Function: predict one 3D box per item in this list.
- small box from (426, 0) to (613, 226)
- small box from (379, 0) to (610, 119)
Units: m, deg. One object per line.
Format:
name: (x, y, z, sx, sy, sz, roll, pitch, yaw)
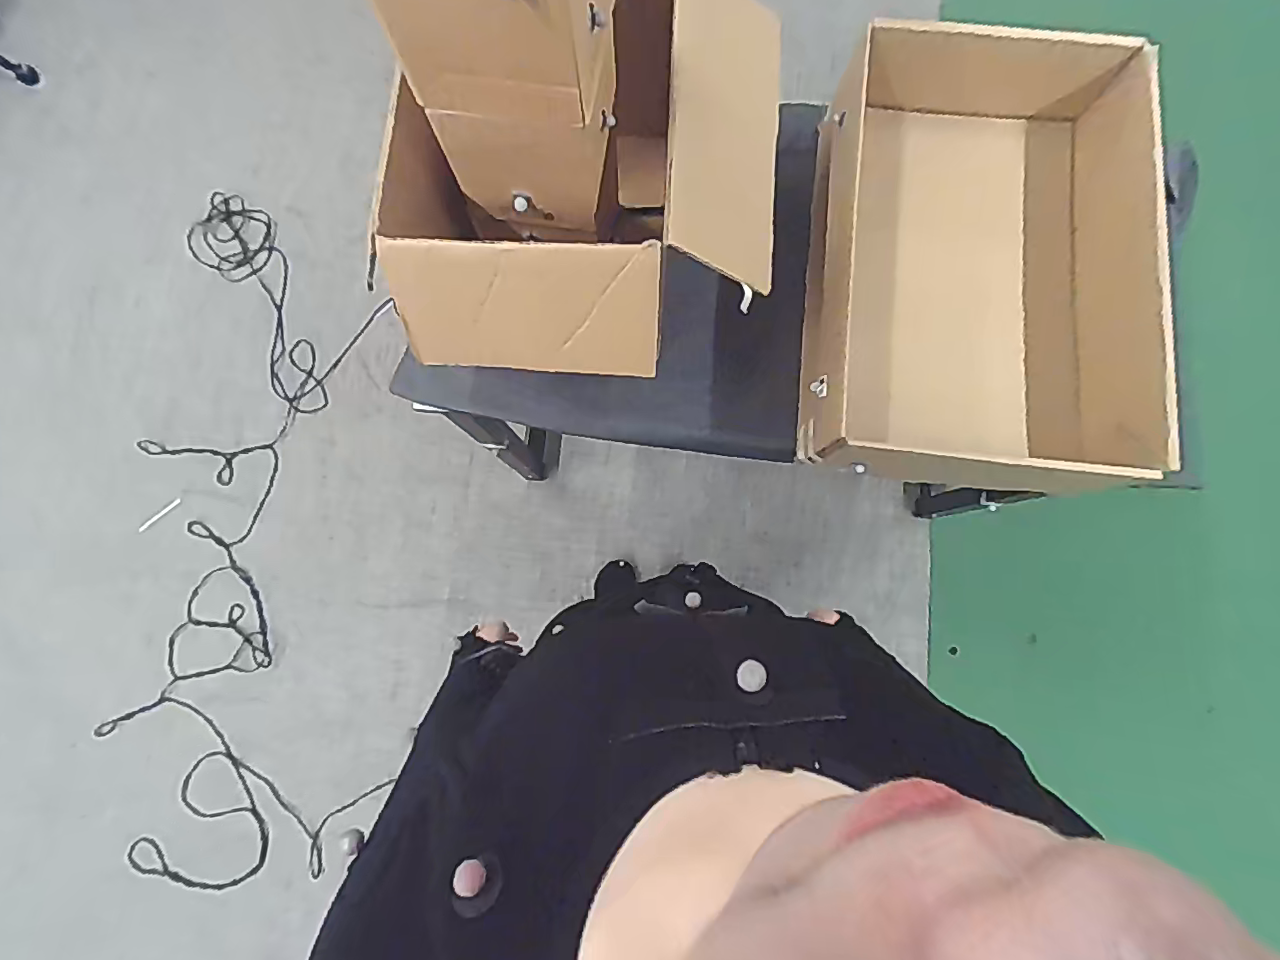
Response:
small box: (-0.125, -0.435, 0.634, 0.168, 0.176, 0.179, 8, 83, 1)
small box: (-0.127, -0.458, 0.474, 0.179, 0.176, 0.168, 9, 81, 1)
